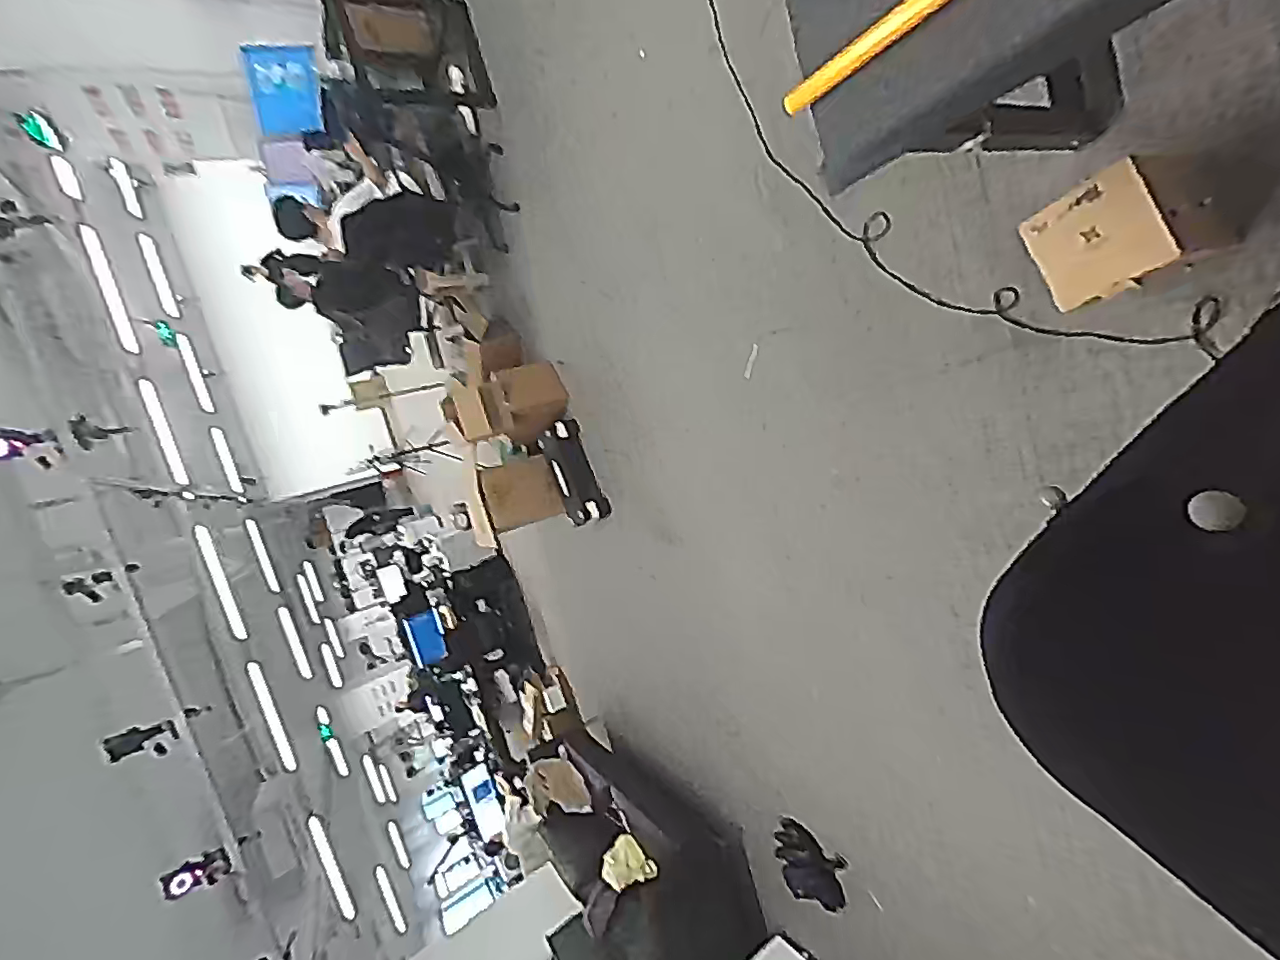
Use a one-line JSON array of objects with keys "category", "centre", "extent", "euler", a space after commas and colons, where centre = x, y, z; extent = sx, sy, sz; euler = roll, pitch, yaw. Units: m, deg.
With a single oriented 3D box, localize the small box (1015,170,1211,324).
[{"category": "small box", "centre": [0.795, -0.394, 0.912], "extent": [0.179, 0.176, 0.168], "euler": [67, 153, 8]}]
